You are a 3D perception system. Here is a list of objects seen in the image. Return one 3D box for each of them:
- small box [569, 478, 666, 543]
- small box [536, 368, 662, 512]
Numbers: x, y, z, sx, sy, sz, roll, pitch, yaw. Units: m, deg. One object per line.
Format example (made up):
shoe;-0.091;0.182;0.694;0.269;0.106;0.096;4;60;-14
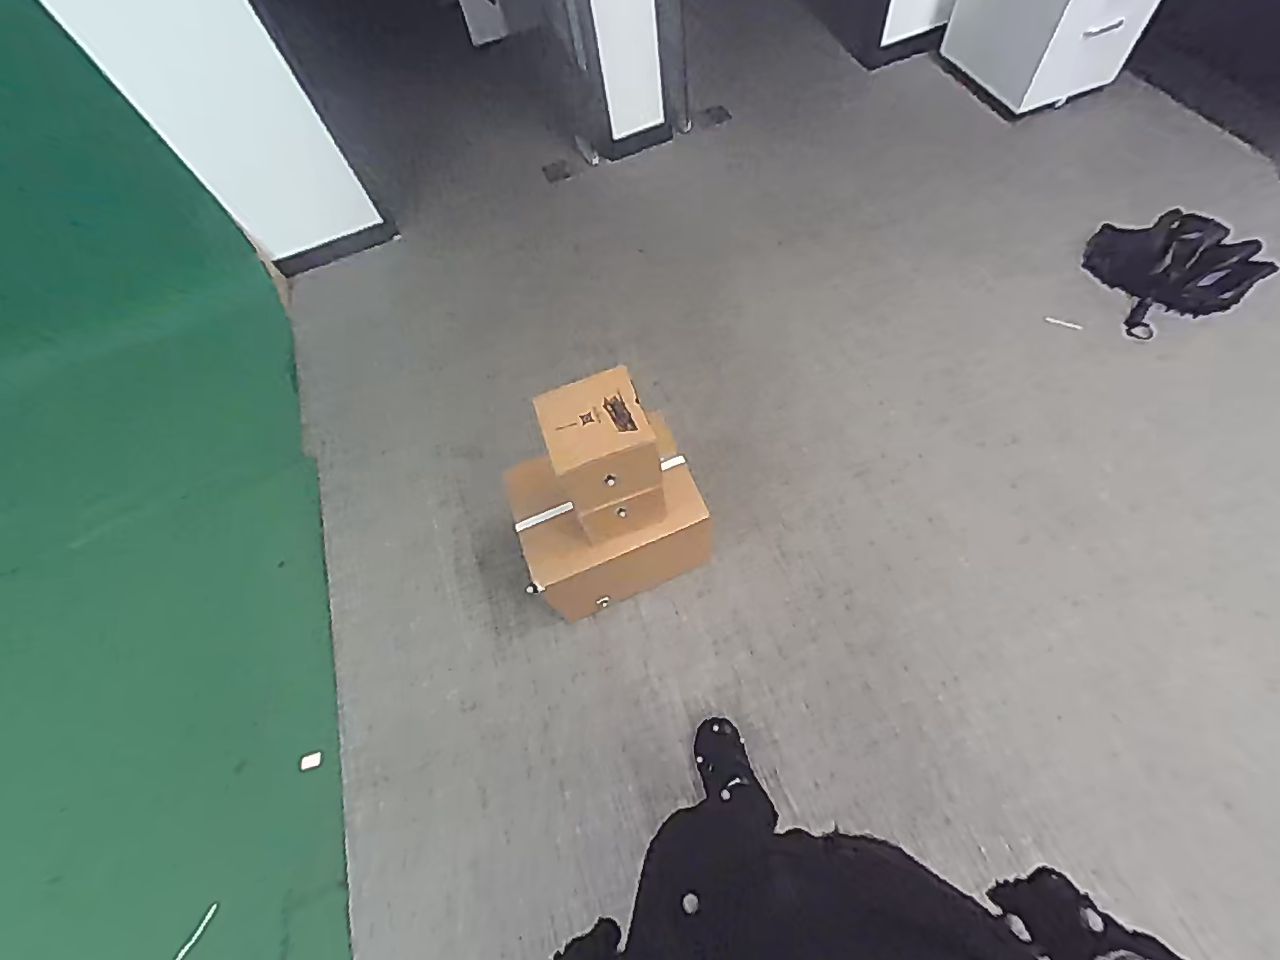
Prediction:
small box;-0.055;0.010;1.126;0.179;0.176;0.168;-20;64;-4
small box;-0.067;-0.066;0.981;0.179;0.176;0.168;-22;64;-4
